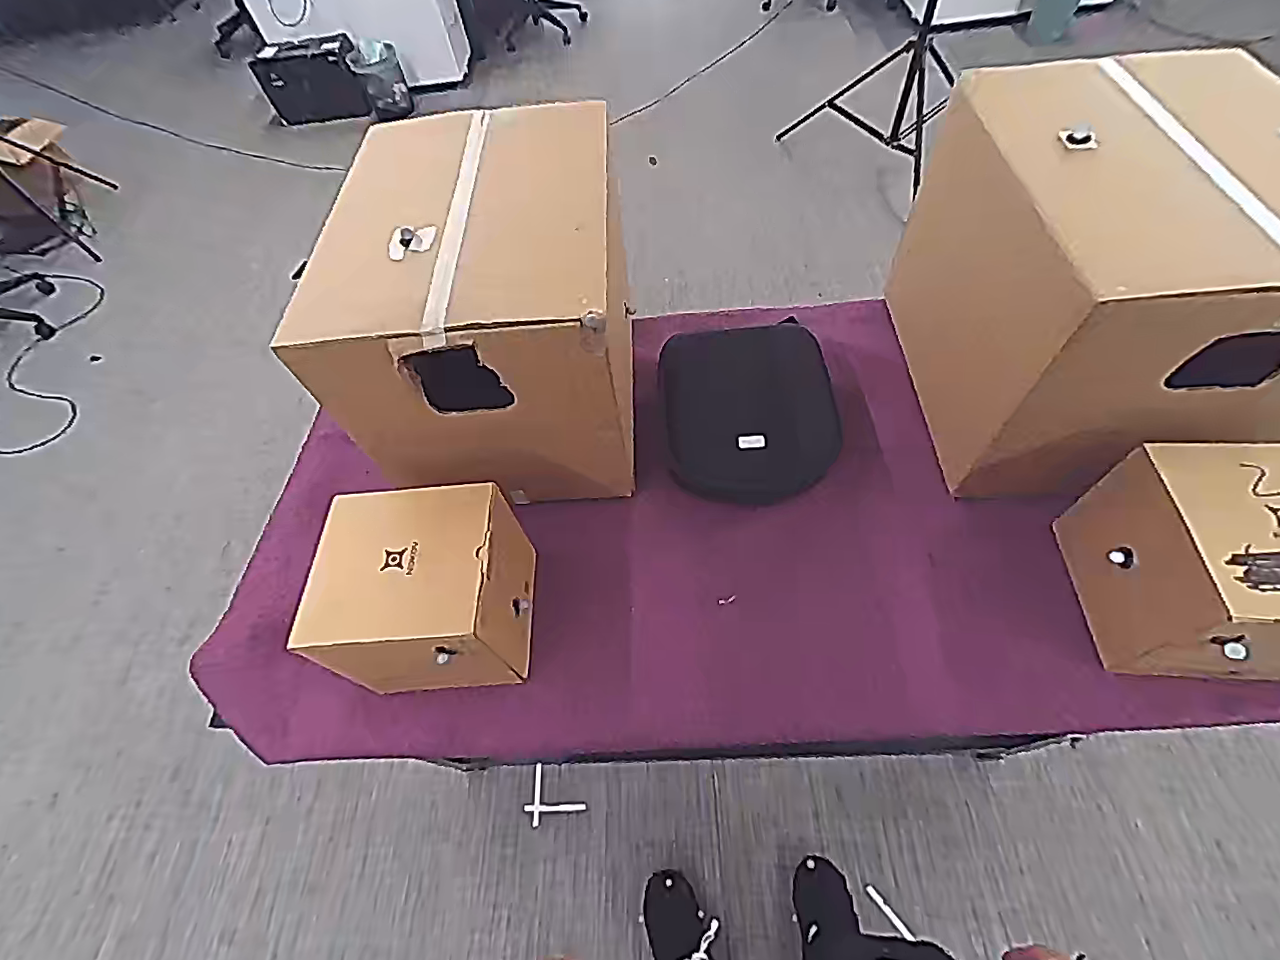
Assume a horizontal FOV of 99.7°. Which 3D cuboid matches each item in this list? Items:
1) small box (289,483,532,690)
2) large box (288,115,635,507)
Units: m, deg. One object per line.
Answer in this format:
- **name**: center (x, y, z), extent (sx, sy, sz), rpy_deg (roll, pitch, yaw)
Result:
- **small box**: center (-0.230, 0.124, 0.595), extent (0.179, 0.176, 0.168), rpy_deg (-5, 56, 2)
- **large box**: center (-0.178, -0.211, 0.723), extent (0.320, 0.320, 0.408), rpy_deg (-5, 59, 3)
